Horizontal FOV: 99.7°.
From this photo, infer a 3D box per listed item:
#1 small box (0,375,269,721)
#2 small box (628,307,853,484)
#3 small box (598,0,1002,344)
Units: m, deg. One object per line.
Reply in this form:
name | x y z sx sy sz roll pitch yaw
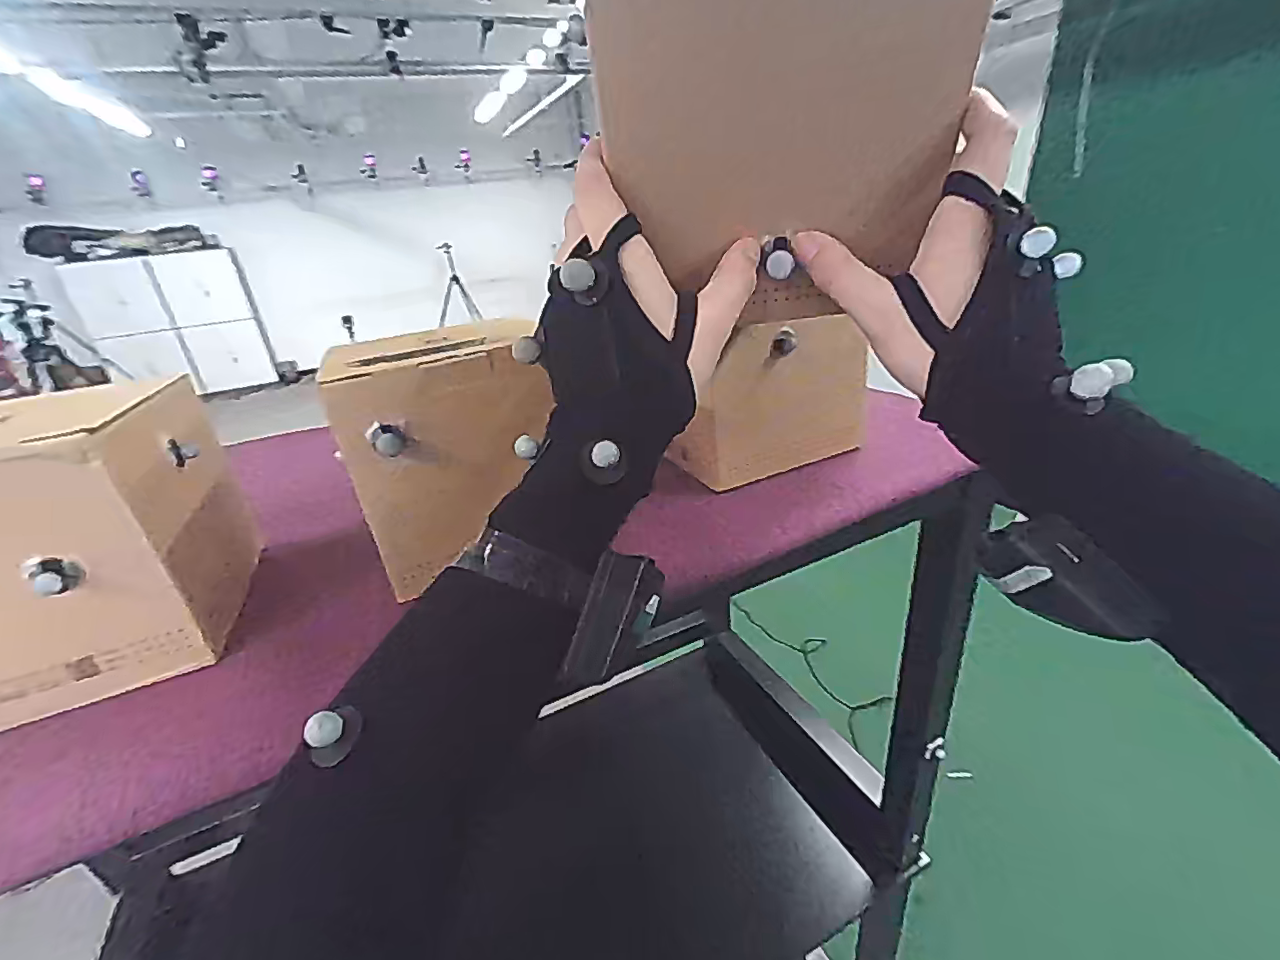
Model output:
small box | -0.388 0.040 0.373 0.168 0.176 0.179 -15 26 -20
small box | 0.106 -0.110 0.569 0.179 0.176 0.168 -16 27 -20
small box | 0.073 -0.204 0.339 0.179 0.176 0.168 -6 44 3
